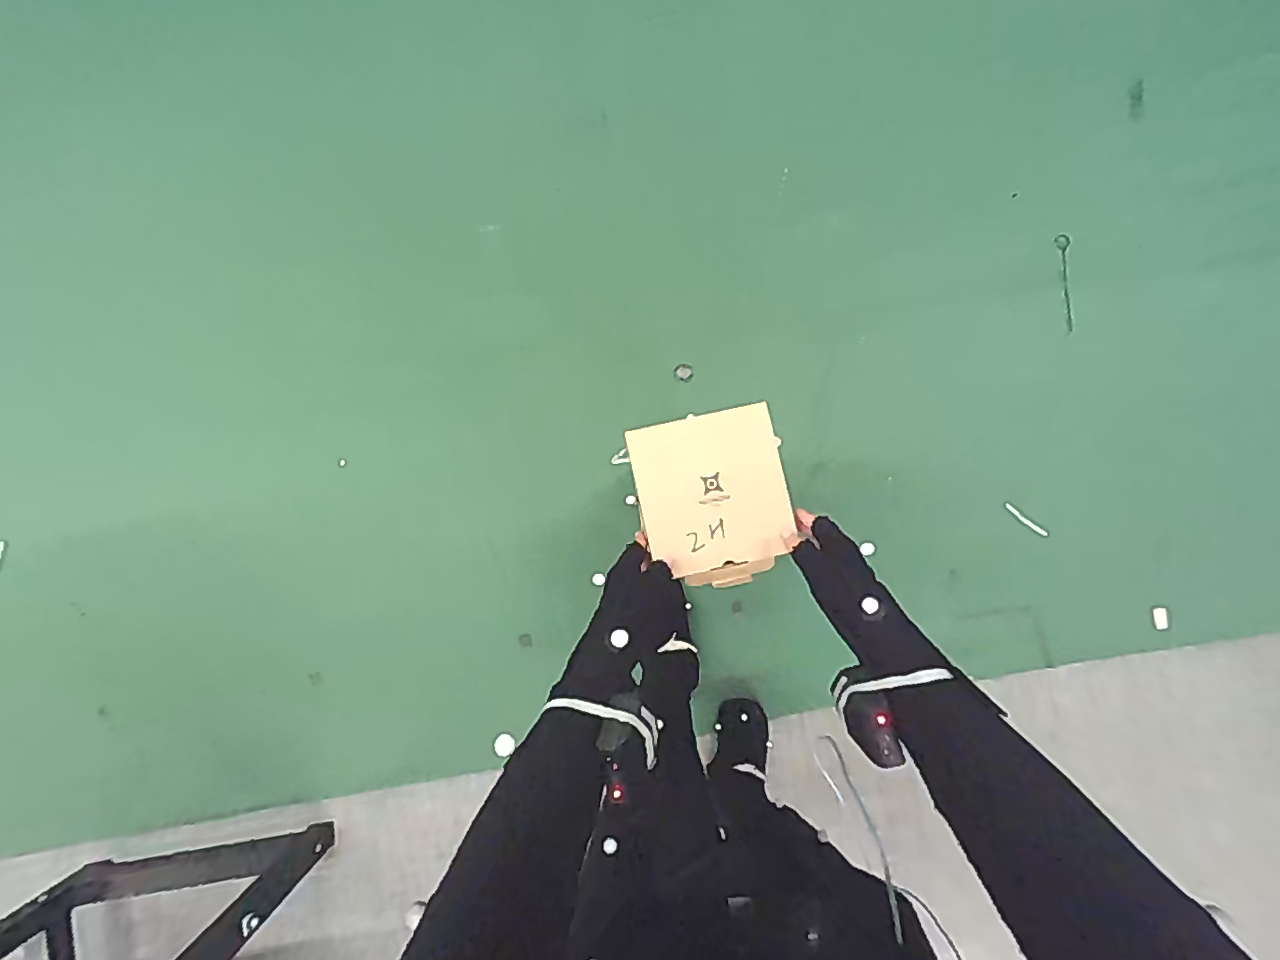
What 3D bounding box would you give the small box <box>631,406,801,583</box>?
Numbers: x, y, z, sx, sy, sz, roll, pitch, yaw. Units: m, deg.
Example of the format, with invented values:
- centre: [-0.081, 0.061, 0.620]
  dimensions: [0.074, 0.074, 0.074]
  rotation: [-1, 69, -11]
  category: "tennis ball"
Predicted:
- centre: [0.084, 0.020, 0.686]
  dimensions: [0.168, 0.176, 0.179]
  rotation: [-12, 88, 0]
  category: "small box"
